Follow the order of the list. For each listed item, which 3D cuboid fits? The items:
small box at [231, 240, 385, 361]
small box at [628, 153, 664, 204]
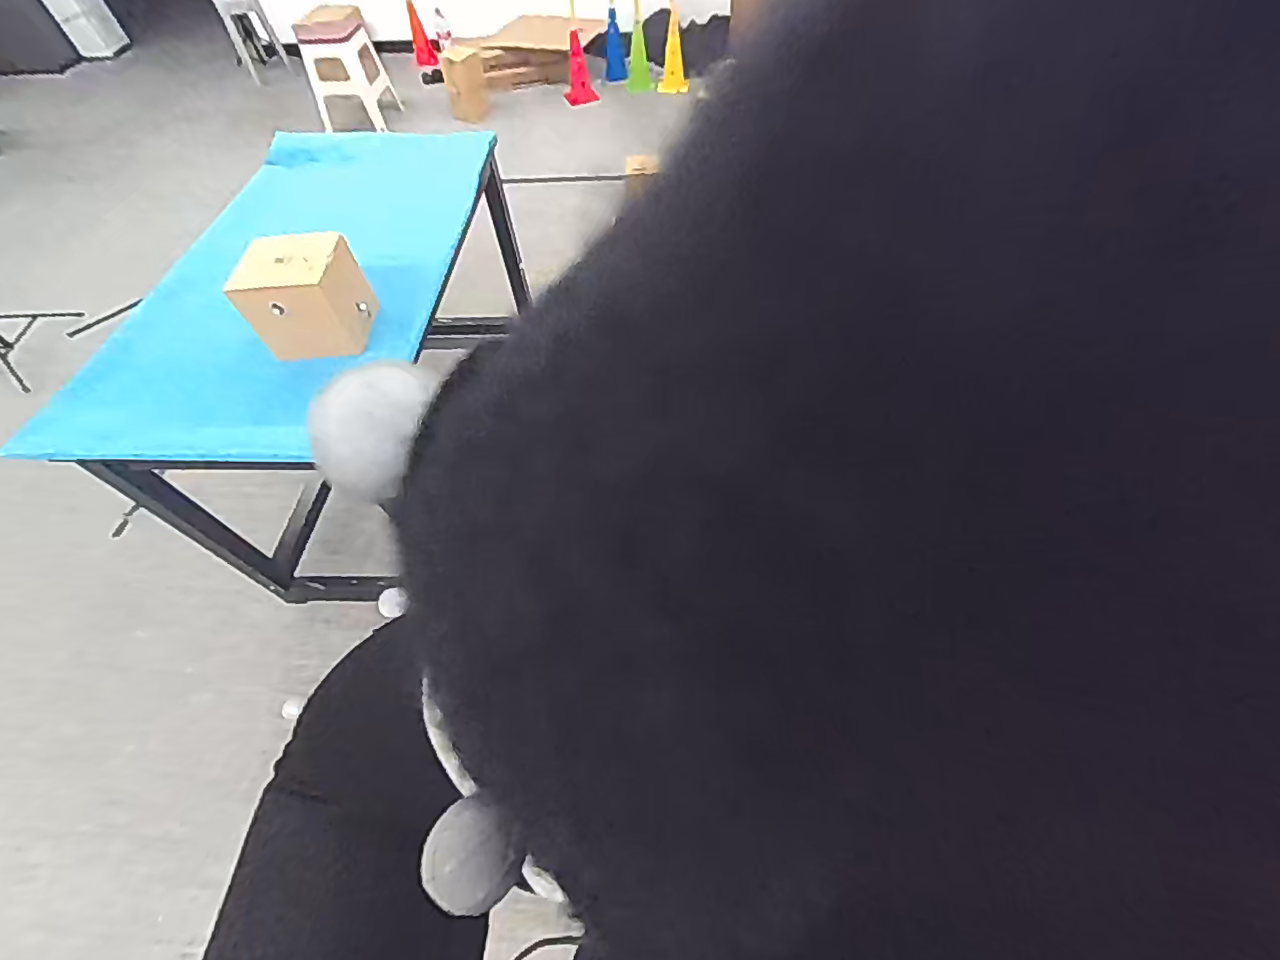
[{"bbox_3d":[-0.643,-0.352,1.074,0.179,0.176,0.168,0,56,1],"label":"small box"},{"bbox_3d":[0.034,-1.493,2.682,0.168,0.176,0.179,-1,55,4],"label":"small box"}]
